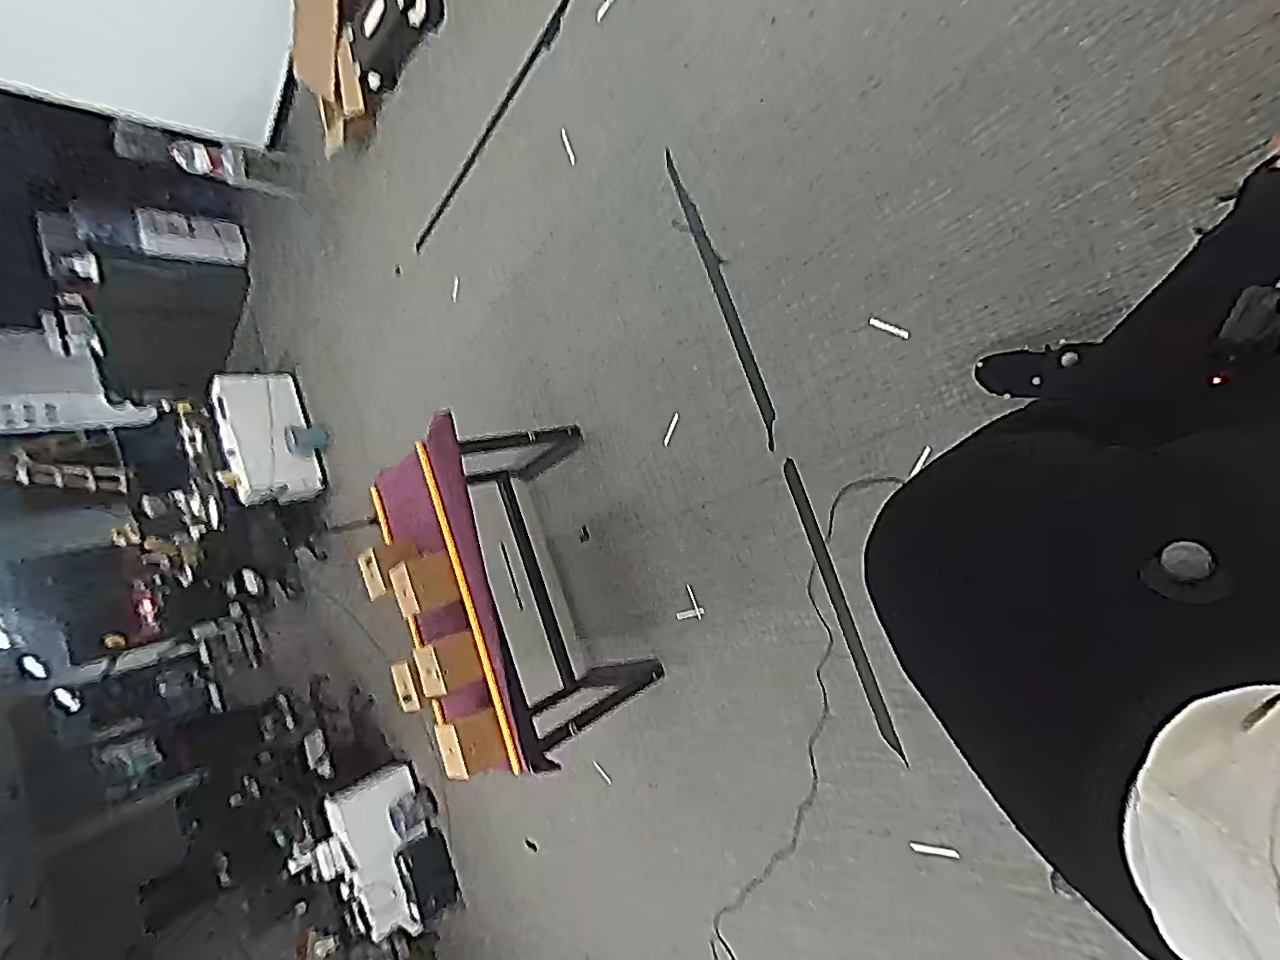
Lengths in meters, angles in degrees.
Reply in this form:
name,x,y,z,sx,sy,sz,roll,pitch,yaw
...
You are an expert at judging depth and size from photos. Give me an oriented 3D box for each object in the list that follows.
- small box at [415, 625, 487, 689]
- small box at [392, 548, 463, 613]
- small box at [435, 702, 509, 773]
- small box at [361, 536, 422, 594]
name,x,y,z,sx,sy,sz,roll,pitch,yaw
small box,-0.670,0.629,1.921,0.179,0.176,0.168,-25,82,44
small box,-0.763,0.360,1.950,0.168,0.176,0.179,-27,80,44
small box,-0.588,0.896,1.899,0.168,0.176,0.179,-26,80,44
small box,-0.970,0.330,2.139,0.168,0.176,0.179,-28,81,42
